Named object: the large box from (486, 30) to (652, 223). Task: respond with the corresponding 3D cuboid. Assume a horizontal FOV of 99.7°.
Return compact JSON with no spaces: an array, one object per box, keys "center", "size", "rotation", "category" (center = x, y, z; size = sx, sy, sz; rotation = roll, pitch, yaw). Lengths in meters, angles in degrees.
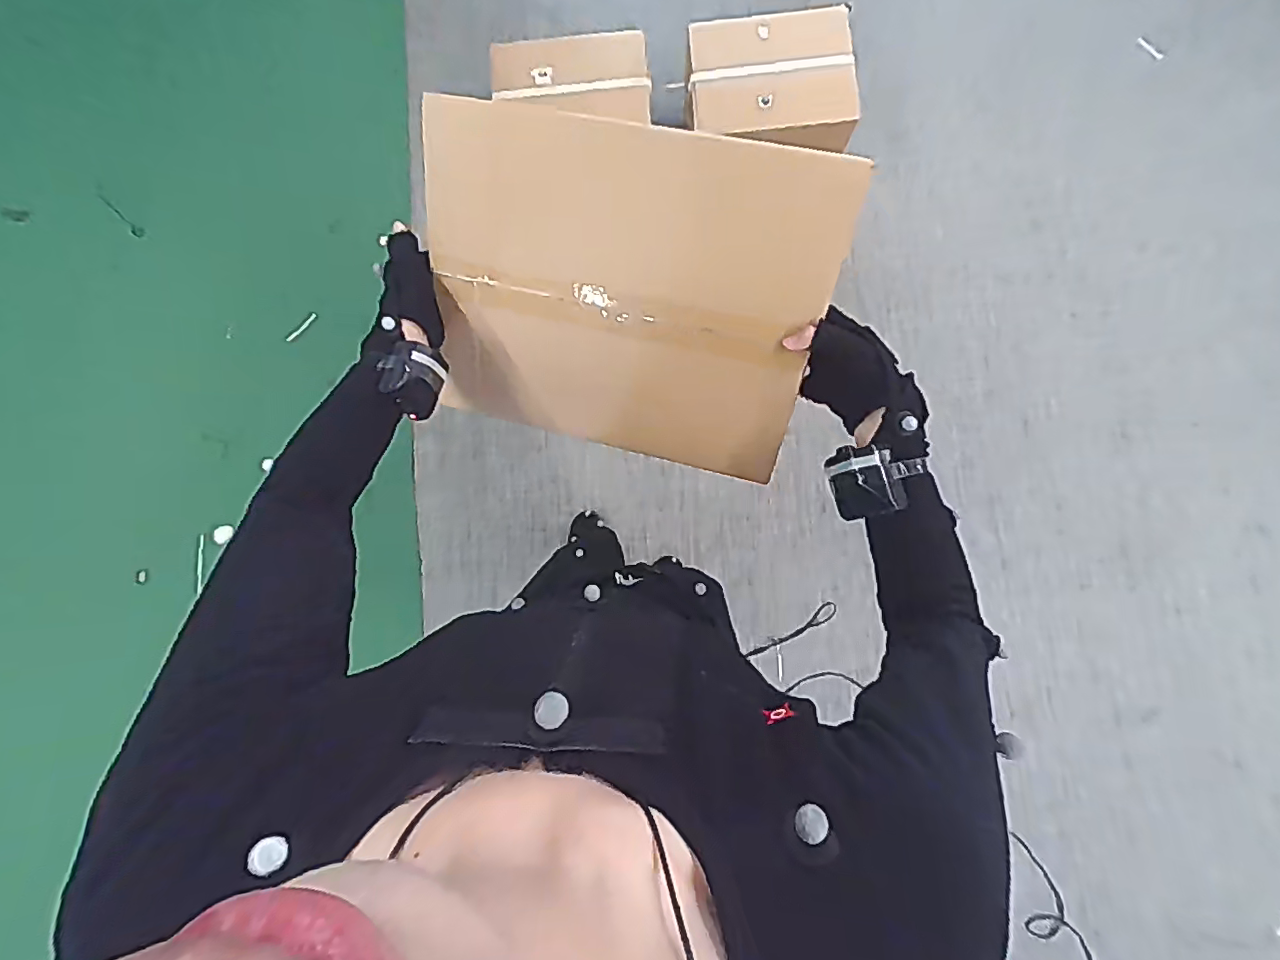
[{"center":[-0.180,-0.964,1.515],"size":[0.408,0.320,0.320],"rotation":[-4,83,3],"category":"large box"}]
